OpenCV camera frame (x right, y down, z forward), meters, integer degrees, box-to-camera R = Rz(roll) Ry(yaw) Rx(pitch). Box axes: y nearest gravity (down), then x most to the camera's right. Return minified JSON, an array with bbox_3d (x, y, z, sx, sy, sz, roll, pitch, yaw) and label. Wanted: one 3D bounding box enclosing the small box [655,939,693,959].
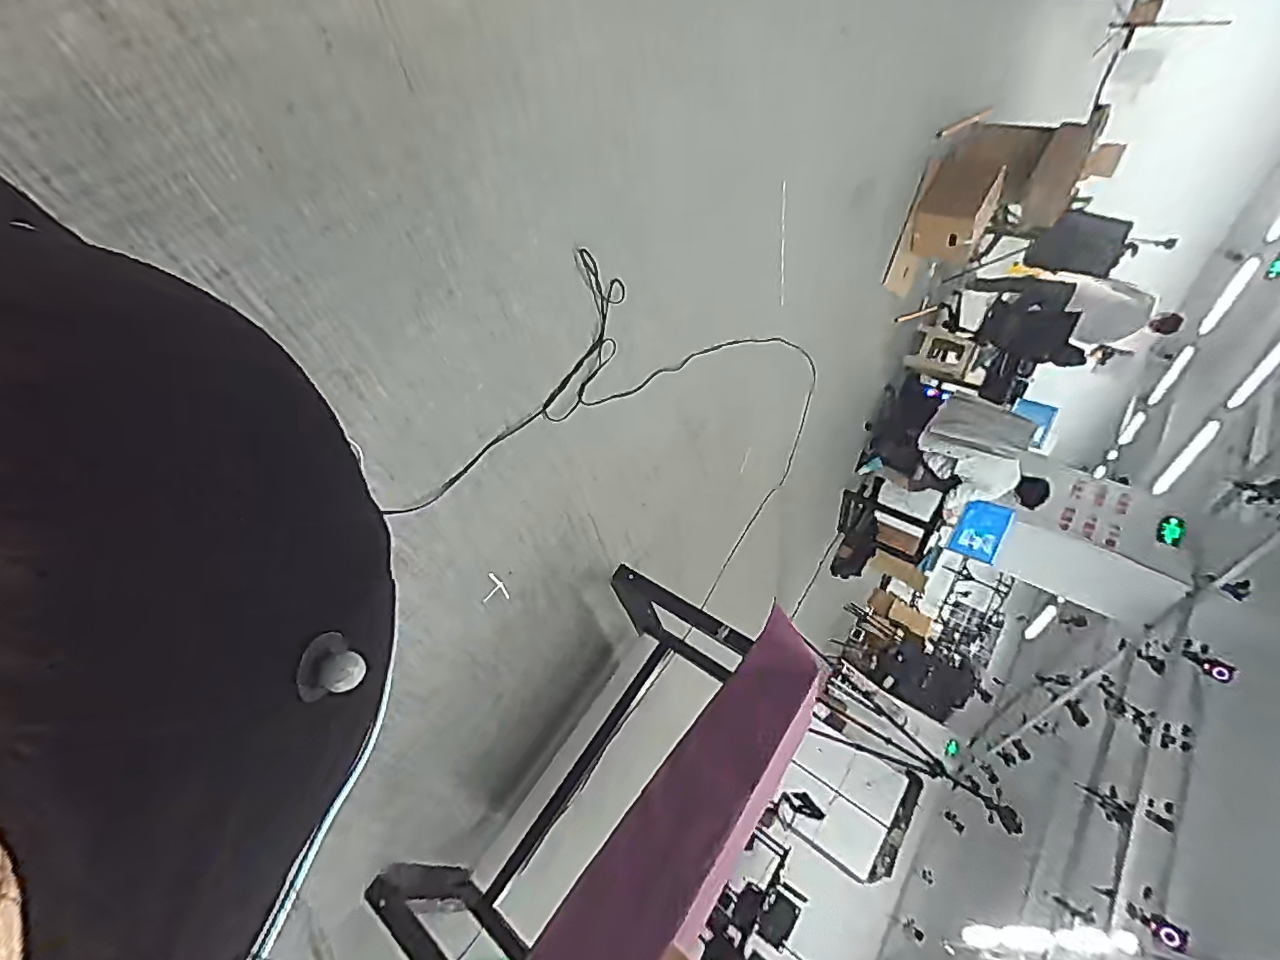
[{"bbox_3d":[0.088,1.250,1.292,0.179,0.176,0.168,-46,146,-28],"label":"small box"}]
